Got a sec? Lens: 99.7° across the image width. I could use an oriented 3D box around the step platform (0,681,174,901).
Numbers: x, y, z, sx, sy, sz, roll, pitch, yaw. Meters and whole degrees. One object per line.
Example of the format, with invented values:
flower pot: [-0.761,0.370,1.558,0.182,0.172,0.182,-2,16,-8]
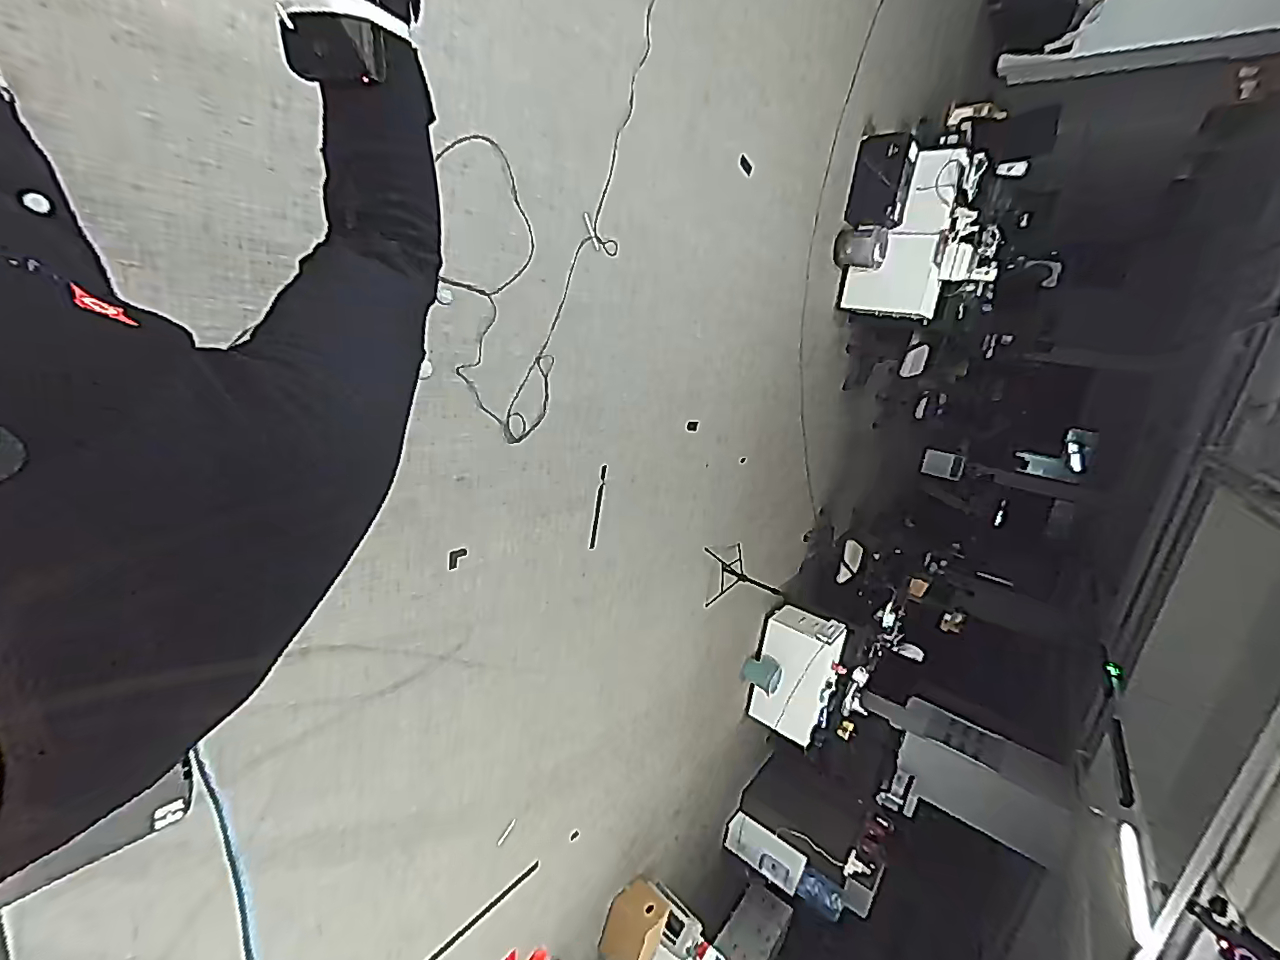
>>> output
step platform: [-1.314,0.668,1.002,0.684,0.204,0.286,-15,117,-49]
